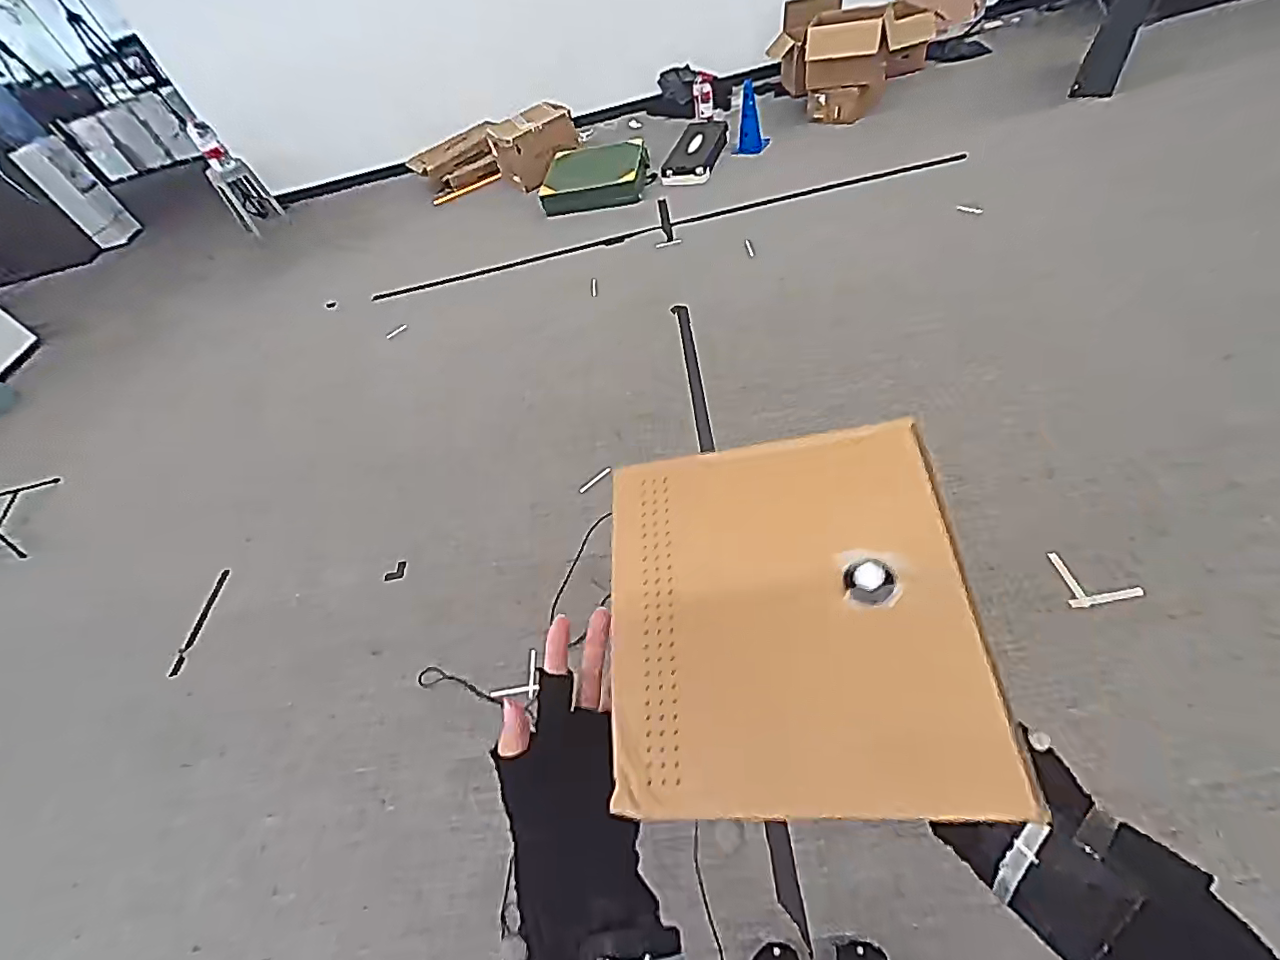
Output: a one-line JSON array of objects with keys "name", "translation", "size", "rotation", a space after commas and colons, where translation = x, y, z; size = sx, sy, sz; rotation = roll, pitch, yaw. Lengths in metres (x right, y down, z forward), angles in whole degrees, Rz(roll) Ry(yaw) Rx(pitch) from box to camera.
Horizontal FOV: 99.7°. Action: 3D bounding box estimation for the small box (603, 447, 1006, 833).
[{"name": "small box", "translation": [0.082, 0.107, 0.332], "size": [0.176, 0.168, 0.179], "rotation": [-11, 59, 16]}]
